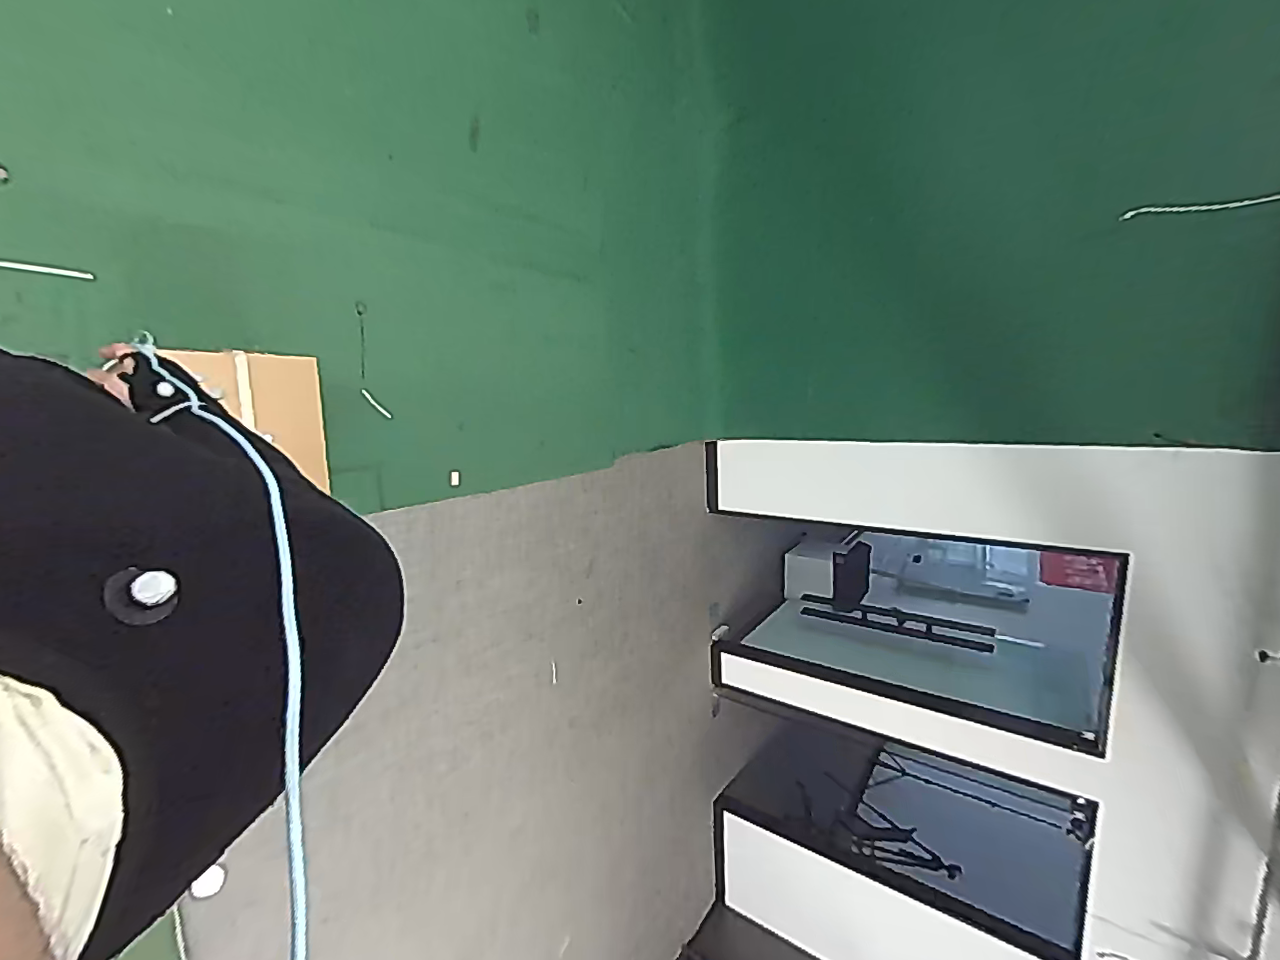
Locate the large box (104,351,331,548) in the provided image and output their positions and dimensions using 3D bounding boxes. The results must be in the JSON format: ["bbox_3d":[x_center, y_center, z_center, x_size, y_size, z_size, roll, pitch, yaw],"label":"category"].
[{"bbox_3d":[-0.984,-0.088,1.275,0.320,0.320,0.408,-13,105,-53],"label":"large box"}]
